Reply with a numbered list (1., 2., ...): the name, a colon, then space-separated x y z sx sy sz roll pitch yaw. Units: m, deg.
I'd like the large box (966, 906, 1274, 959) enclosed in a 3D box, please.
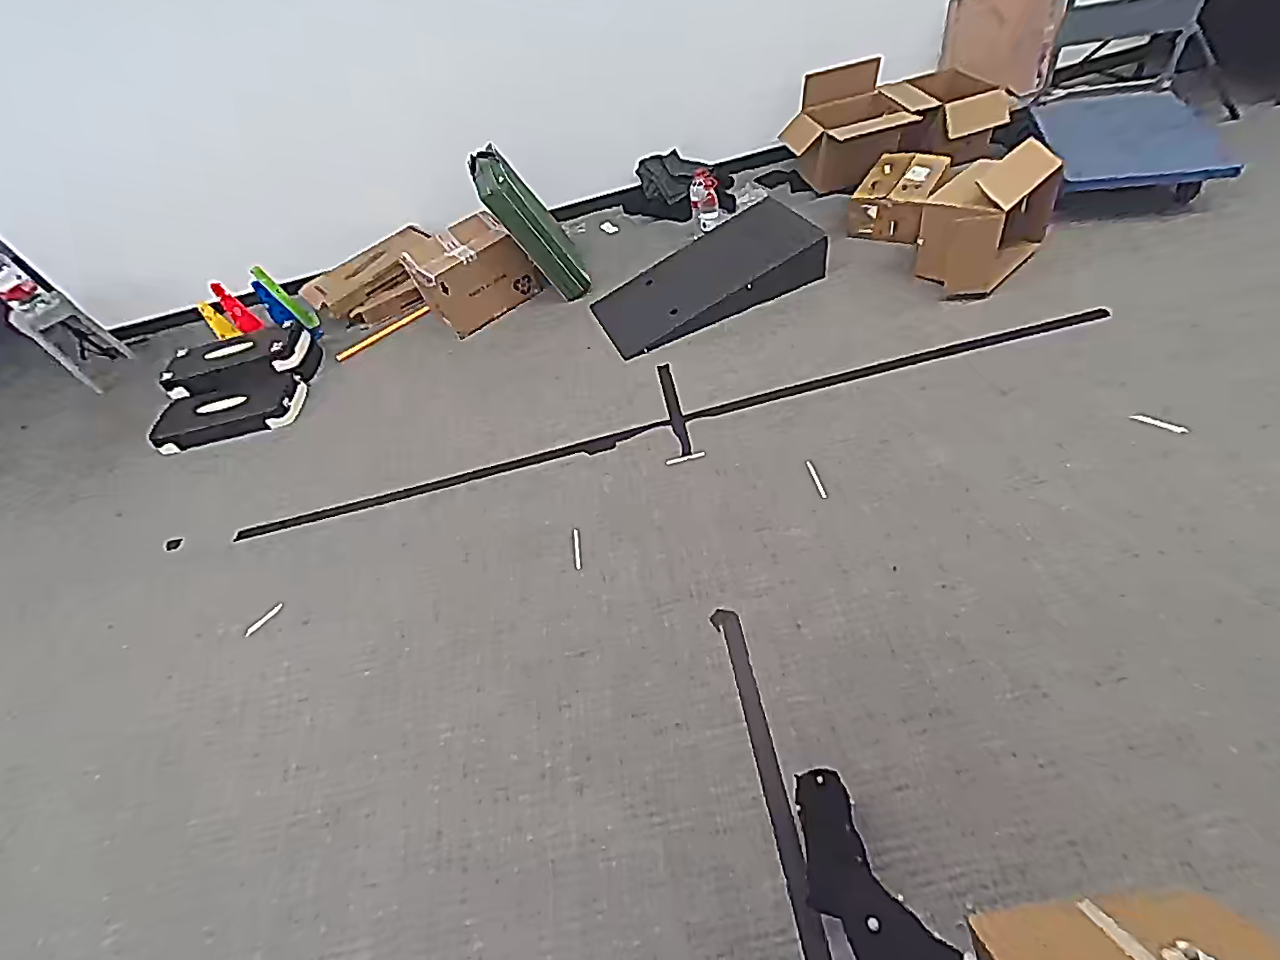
1. large box: 0.617 0.722 0.538 0.320 0.408 0.320 -10 76 6
